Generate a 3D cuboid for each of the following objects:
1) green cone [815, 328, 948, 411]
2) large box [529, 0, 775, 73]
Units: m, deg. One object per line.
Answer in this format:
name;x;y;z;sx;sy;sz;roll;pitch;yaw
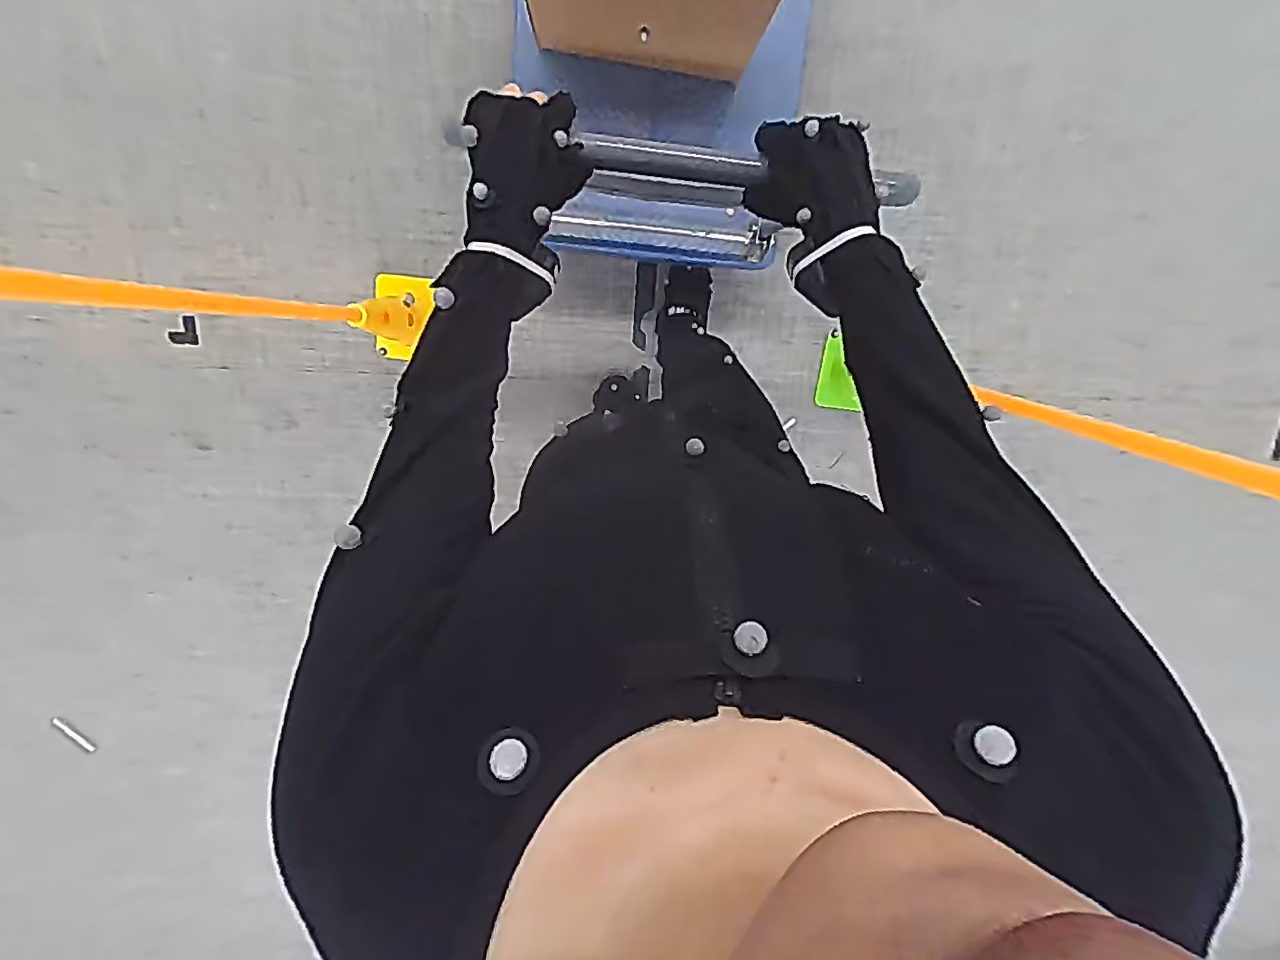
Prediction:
green cone;0.584;-0.245;1.259;0.202;0.368;0.200;6;105;-6
large box;0.026;-0.936;0.891;0.408;0.320;0.320;6;105;-4
